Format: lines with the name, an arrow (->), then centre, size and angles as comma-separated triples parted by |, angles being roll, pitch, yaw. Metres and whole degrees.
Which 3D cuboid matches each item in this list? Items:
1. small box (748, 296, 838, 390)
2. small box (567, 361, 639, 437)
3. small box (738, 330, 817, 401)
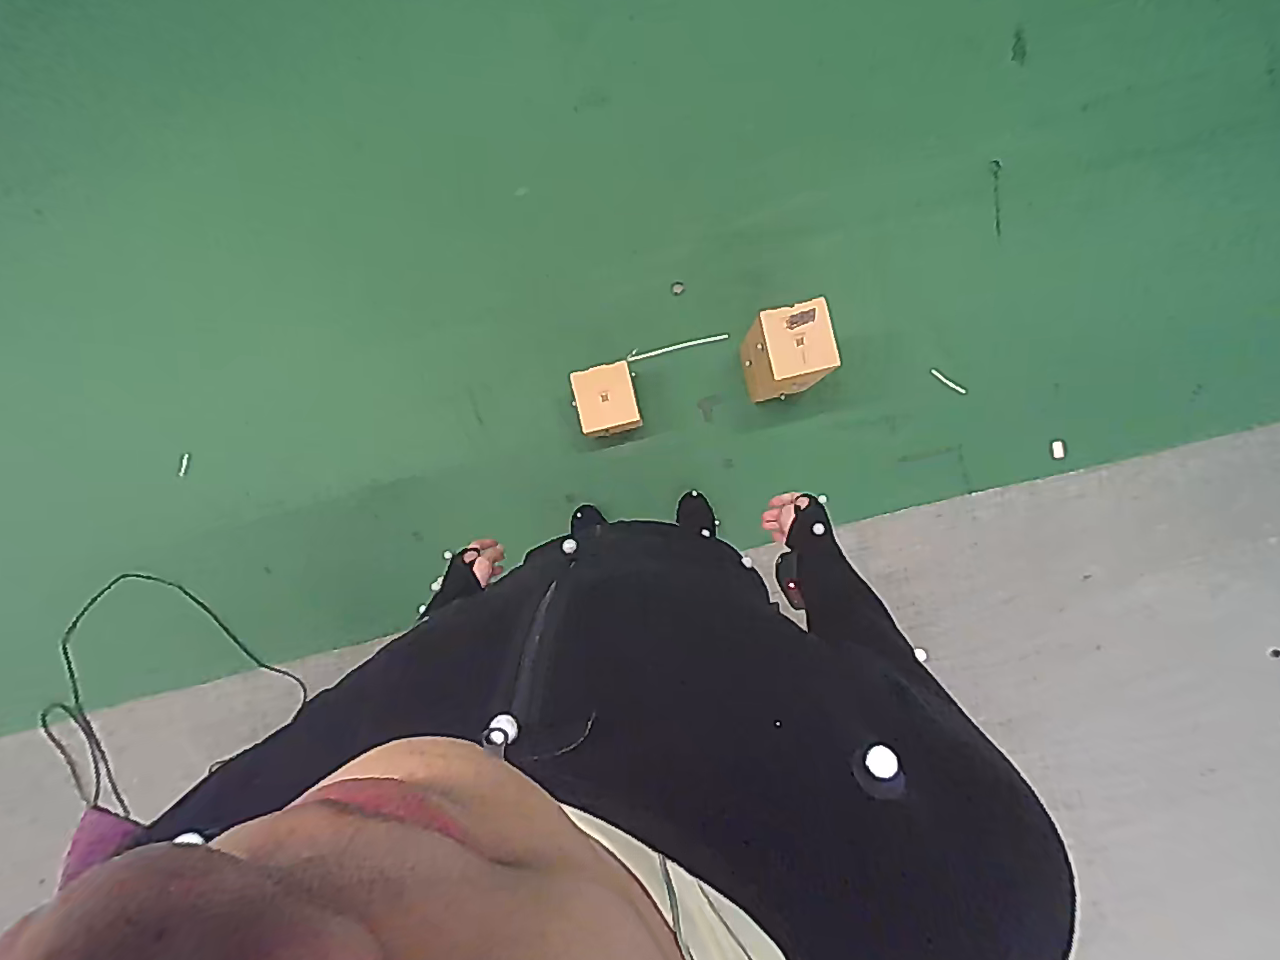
small box -> 0.385, -0.346, 1.393 | 0.168, 0.176, 0.179 | -13, 89, 1
small box -> -0.101, -0.227, 1.574 | 0.168, 0.176, 0.179 | -14, 87, 2
small box -> 0.388, -0.342, 1.558 | 0.168, 0.176, 0.179 | -13, 89, 1
